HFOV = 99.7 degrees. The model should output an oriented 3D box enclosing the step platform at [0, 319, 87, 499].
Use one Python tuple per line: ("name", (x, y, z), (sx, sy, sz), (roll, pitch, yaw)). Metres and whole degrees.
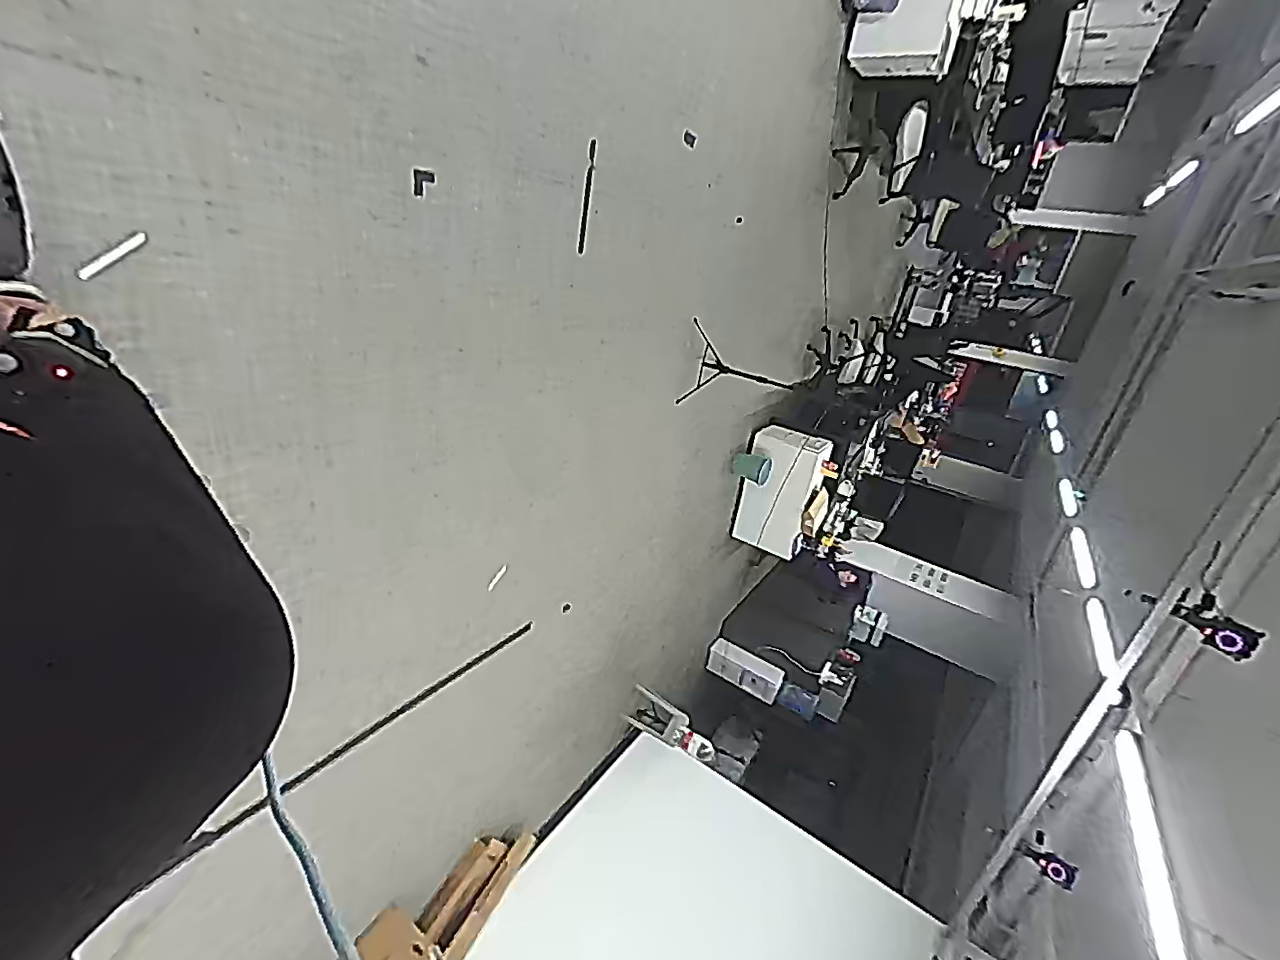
("step platform", (-1.260, -0.084, 0.754), (0.684, 0.204, 0.286), (-17, 122, -54))
